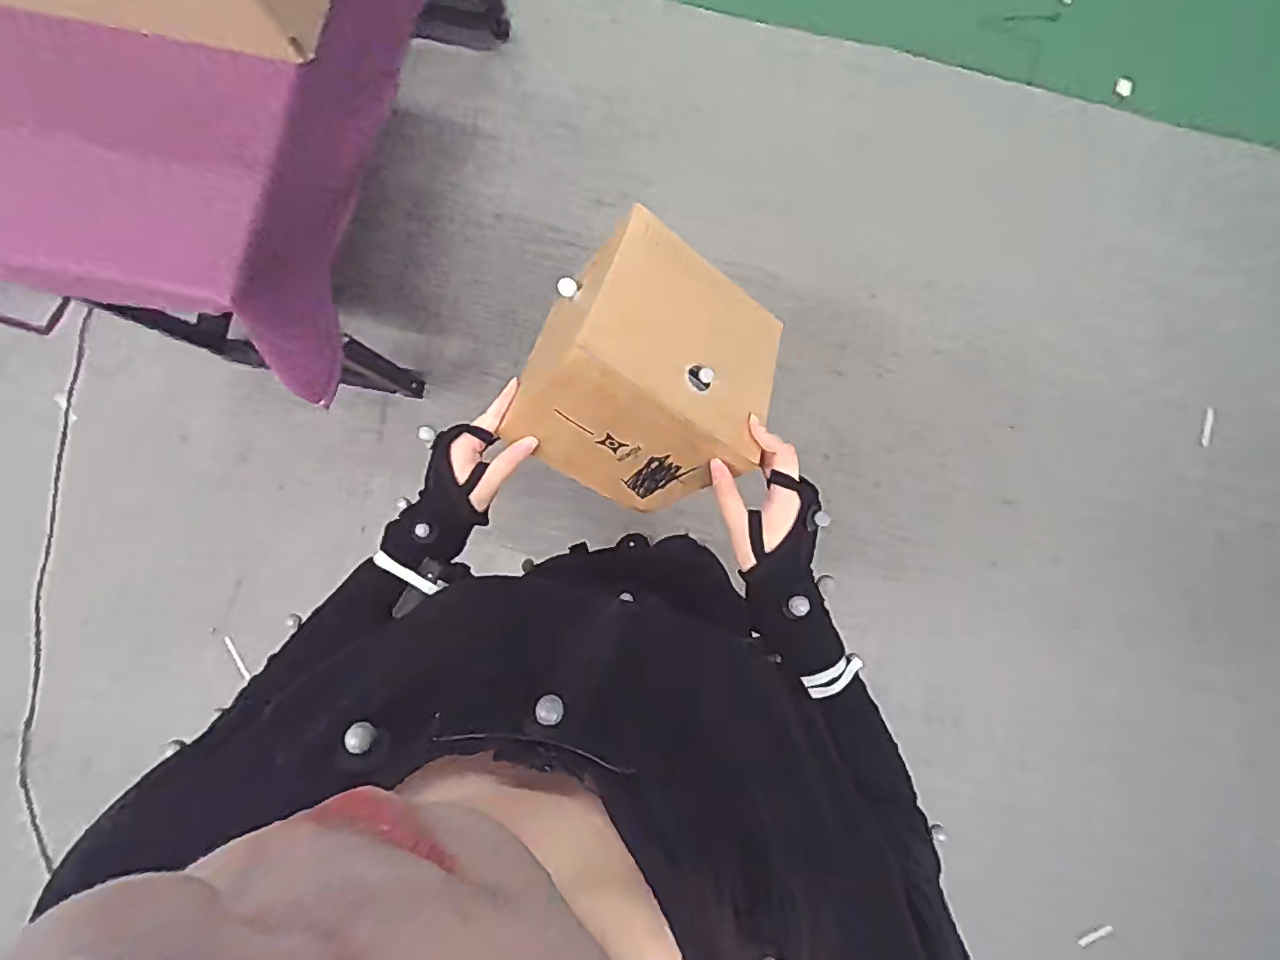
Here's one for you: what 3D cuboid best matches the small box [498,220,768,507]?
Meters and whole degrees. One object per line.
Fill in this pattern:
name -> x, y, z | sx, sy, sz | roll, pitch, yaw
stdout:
small box -> -0.001, -0.100, 0.512 | 0.179, 0.168, 0.176 | 30, 59, -22
